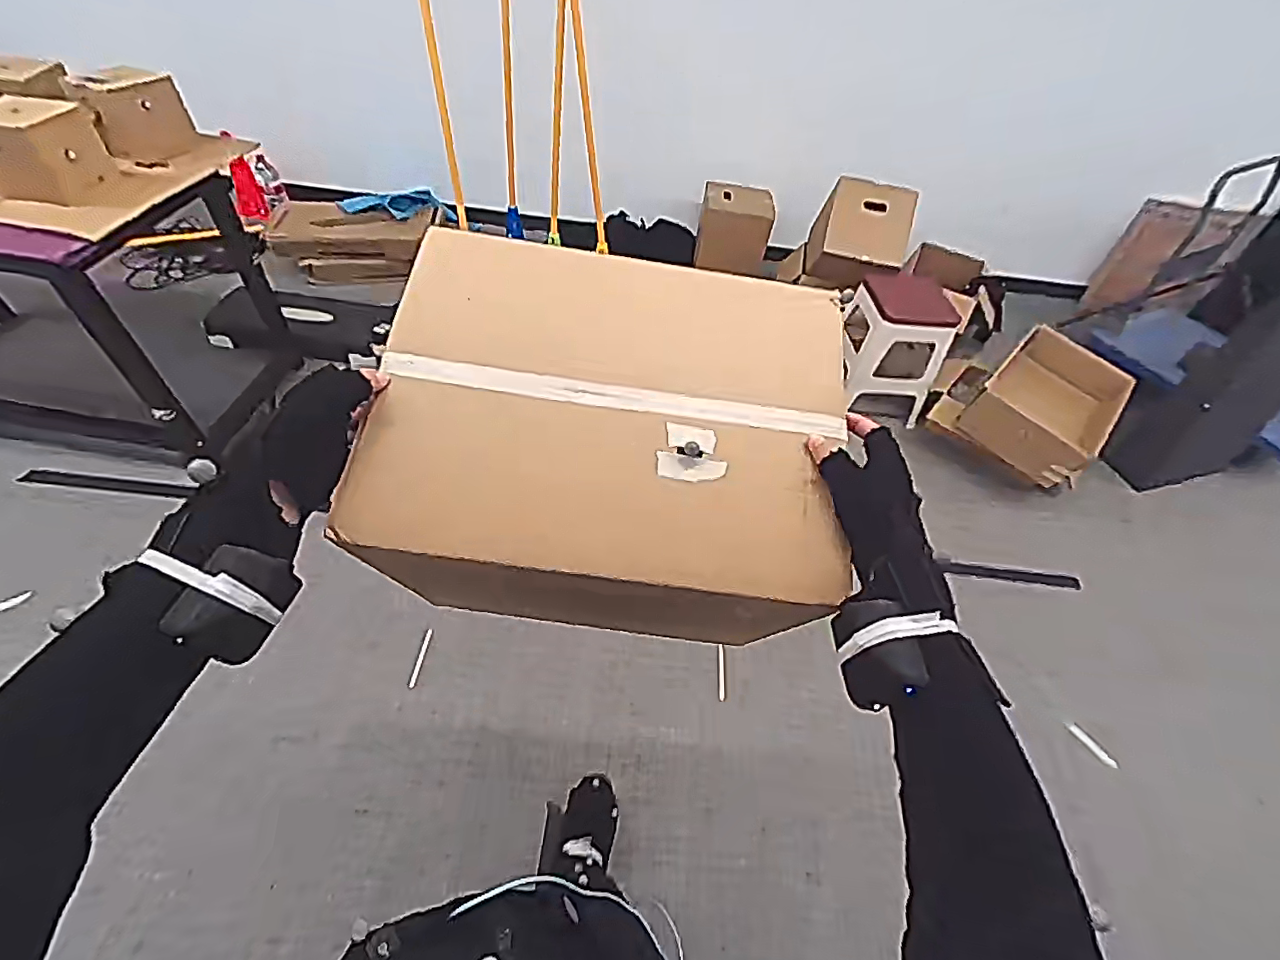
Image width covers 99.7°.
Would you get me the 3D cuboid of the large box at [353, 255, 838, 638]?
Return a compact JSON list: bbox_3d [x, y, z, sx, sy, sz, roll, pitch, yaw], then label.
[{"bbox_3d":[-0.035,-0.007,0.629,0.408,0.320,0.320,8,69,-3],"label":"large box"}]
